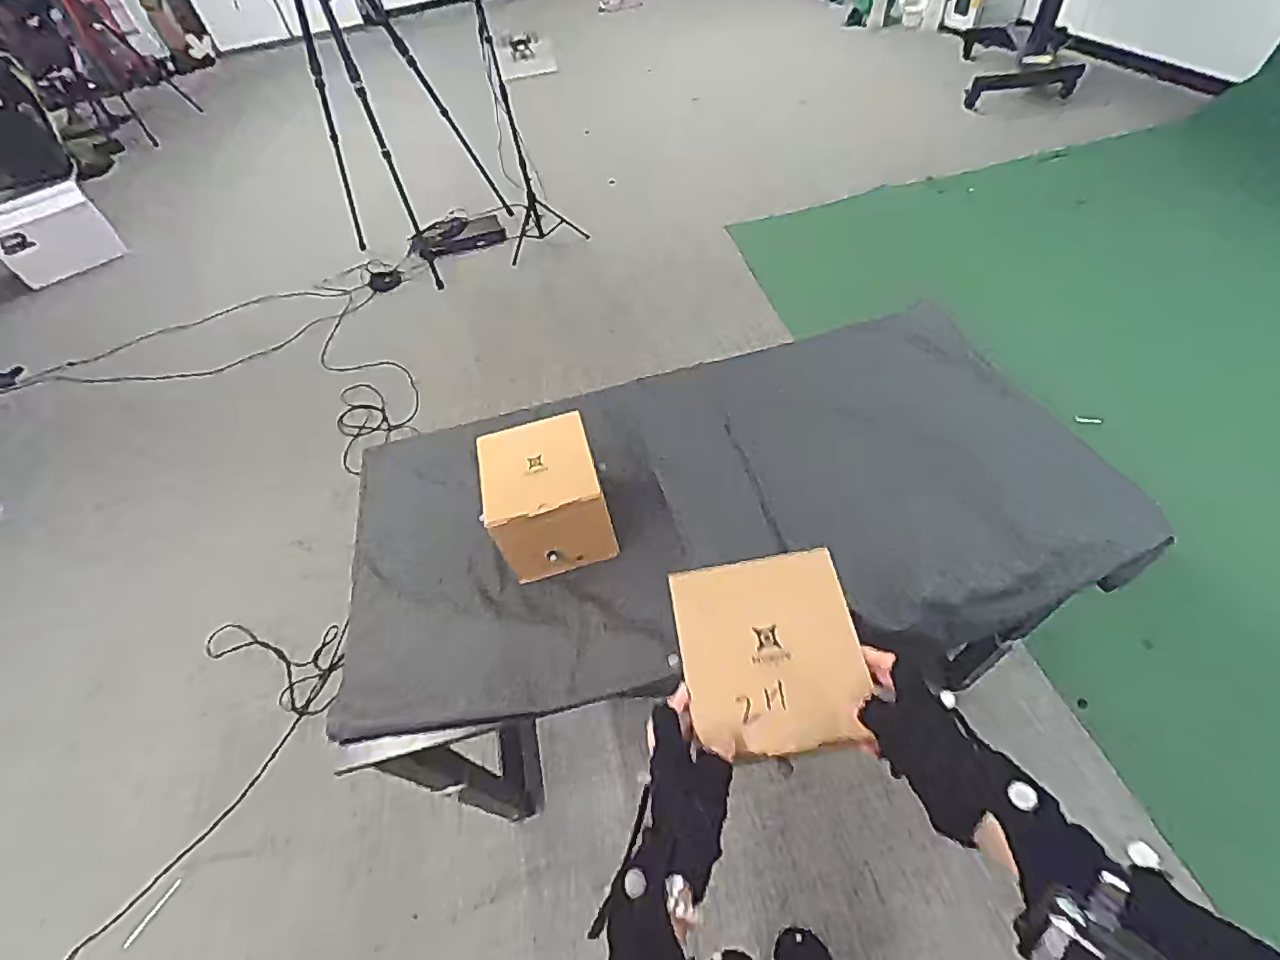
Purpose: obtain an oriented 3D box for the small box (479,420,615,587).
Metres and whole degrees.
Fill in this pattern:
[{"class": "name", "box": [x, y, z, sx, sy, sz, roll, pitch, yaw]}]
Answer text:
[{"class": "small box", "box": [-0.143, 0.039, 0.850, 0.168, 0.176, 0.179, -15, 51, -5]}]
